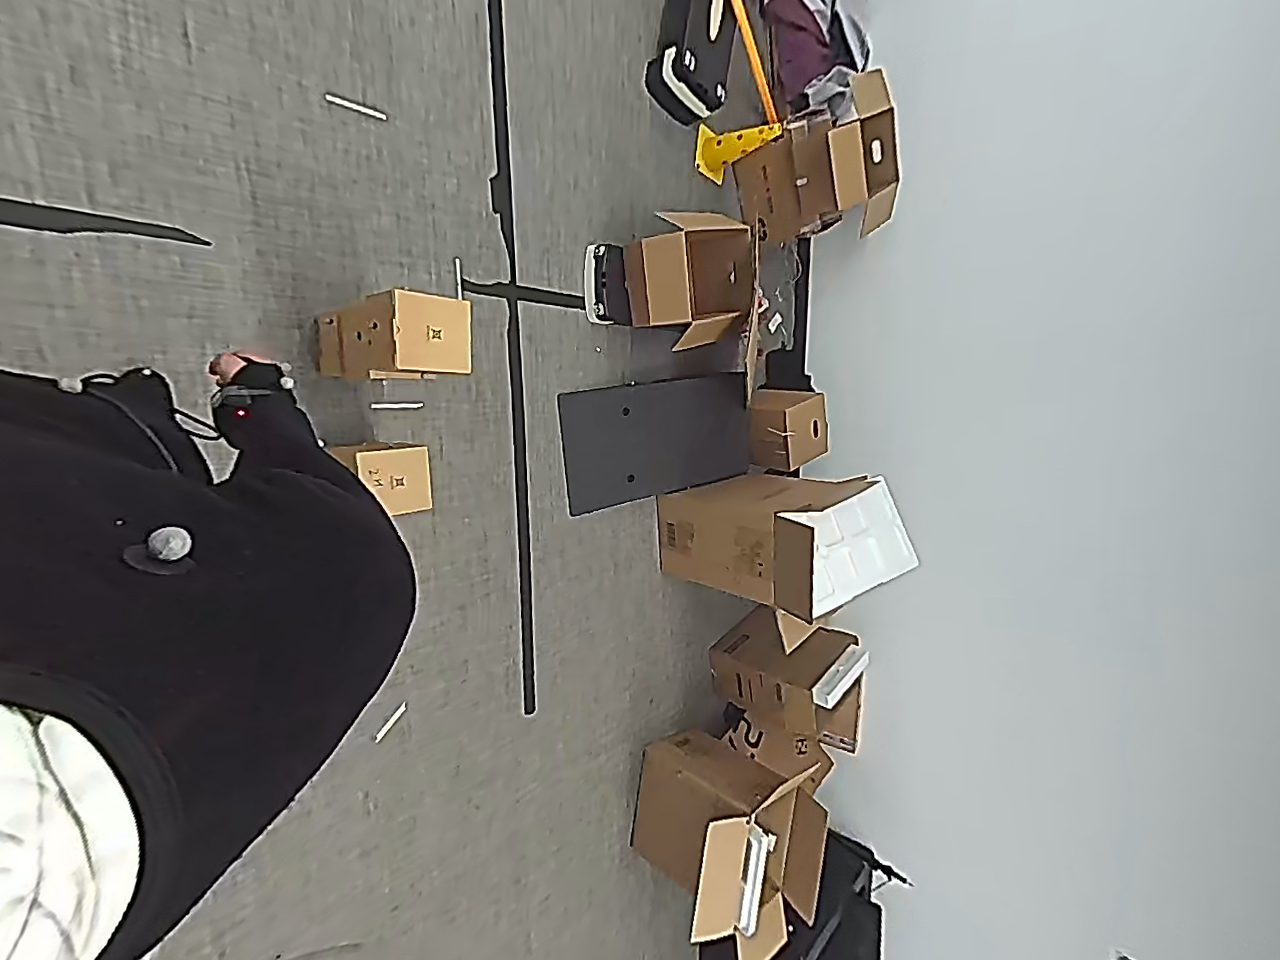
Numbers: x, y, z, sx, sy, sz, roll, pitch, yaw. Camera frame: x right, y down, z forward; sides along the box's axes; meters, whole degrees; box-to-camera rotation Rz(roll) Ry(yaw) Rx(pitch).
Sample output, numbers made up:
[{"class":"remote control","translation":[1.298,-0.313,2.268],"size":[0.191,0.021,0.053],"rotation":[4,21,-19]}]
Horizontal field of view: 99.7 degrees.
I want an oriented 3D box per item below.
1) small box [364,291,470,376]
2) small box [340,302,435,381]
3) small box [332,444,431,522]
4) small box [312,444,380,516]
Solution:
[{"class":"small box","translation":[-0.510,-0.328,1.238],"size":[0.179,0.176,0.168],"rotation":[-7,103,-45]},{"class":"small box","translation":[-0.631,-0.337,1.347],"size":[0.168,0.176,0.179],"rotation":[-10,105,-45]},{"class":"small box","translation":[-0.659,0.001,1.381],"size":[0.179,0.176,0.168],"rotation":[-11,103,-44]},{"class":"small box","translation":[-0.778,-0.007,1.495],"size":[0.179,0.176,0.168],"rotation":[-12,104,-43]}]
